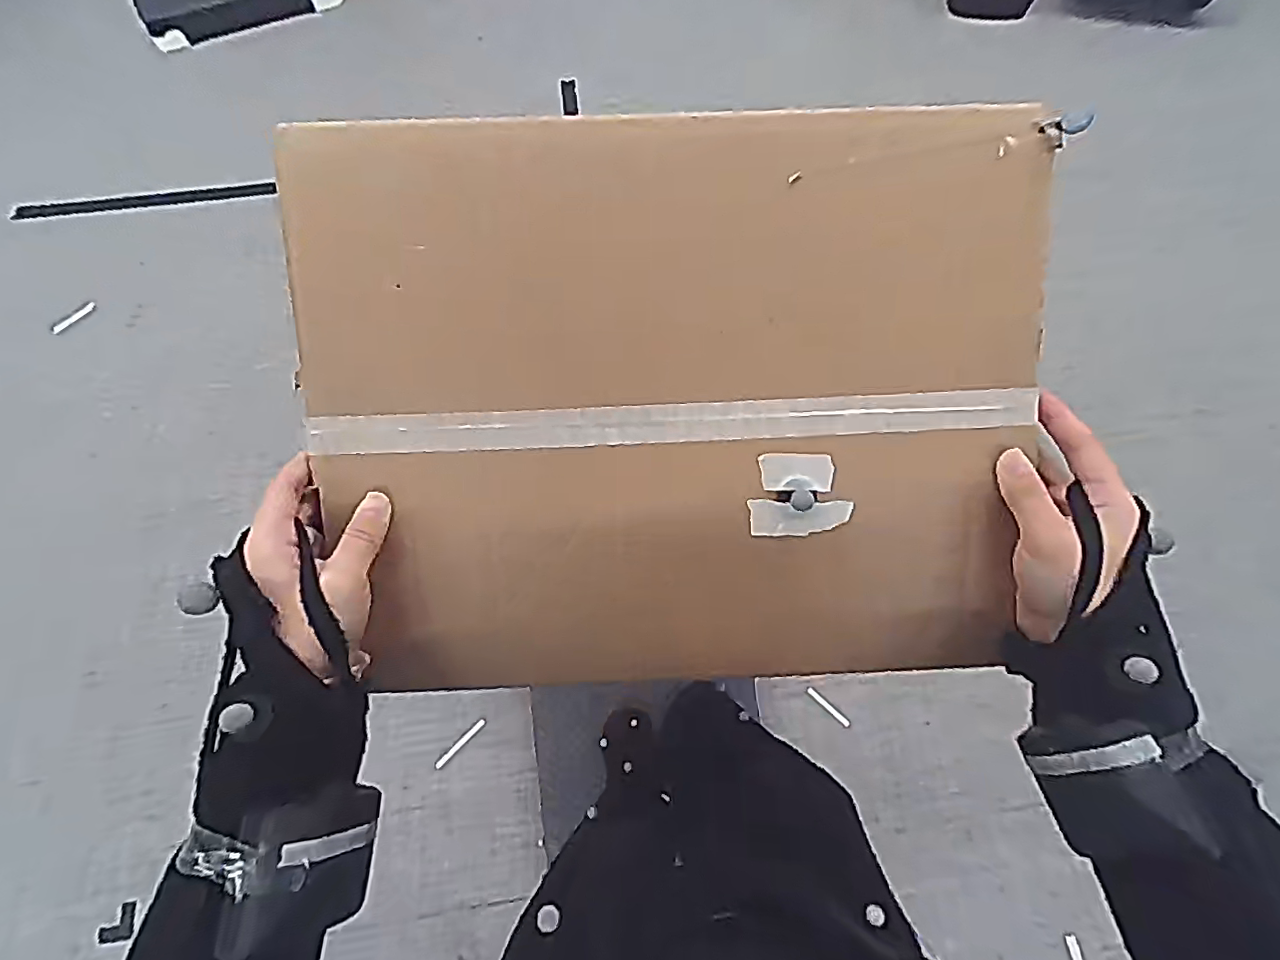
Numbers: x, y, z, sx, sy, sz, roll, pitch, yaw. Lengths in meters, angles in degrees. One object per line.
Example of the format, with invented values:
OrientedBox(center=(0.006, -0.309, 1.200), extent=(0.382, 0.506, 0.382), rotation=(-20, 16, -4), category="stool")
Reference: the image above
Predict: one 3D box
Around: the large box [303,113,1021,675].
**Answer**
OrientedBox(center=(0.016, -0.062, 0.464), extent=(0.408, 0.320, 0.320), rotation=(-3, 100, -1), category="large box")
